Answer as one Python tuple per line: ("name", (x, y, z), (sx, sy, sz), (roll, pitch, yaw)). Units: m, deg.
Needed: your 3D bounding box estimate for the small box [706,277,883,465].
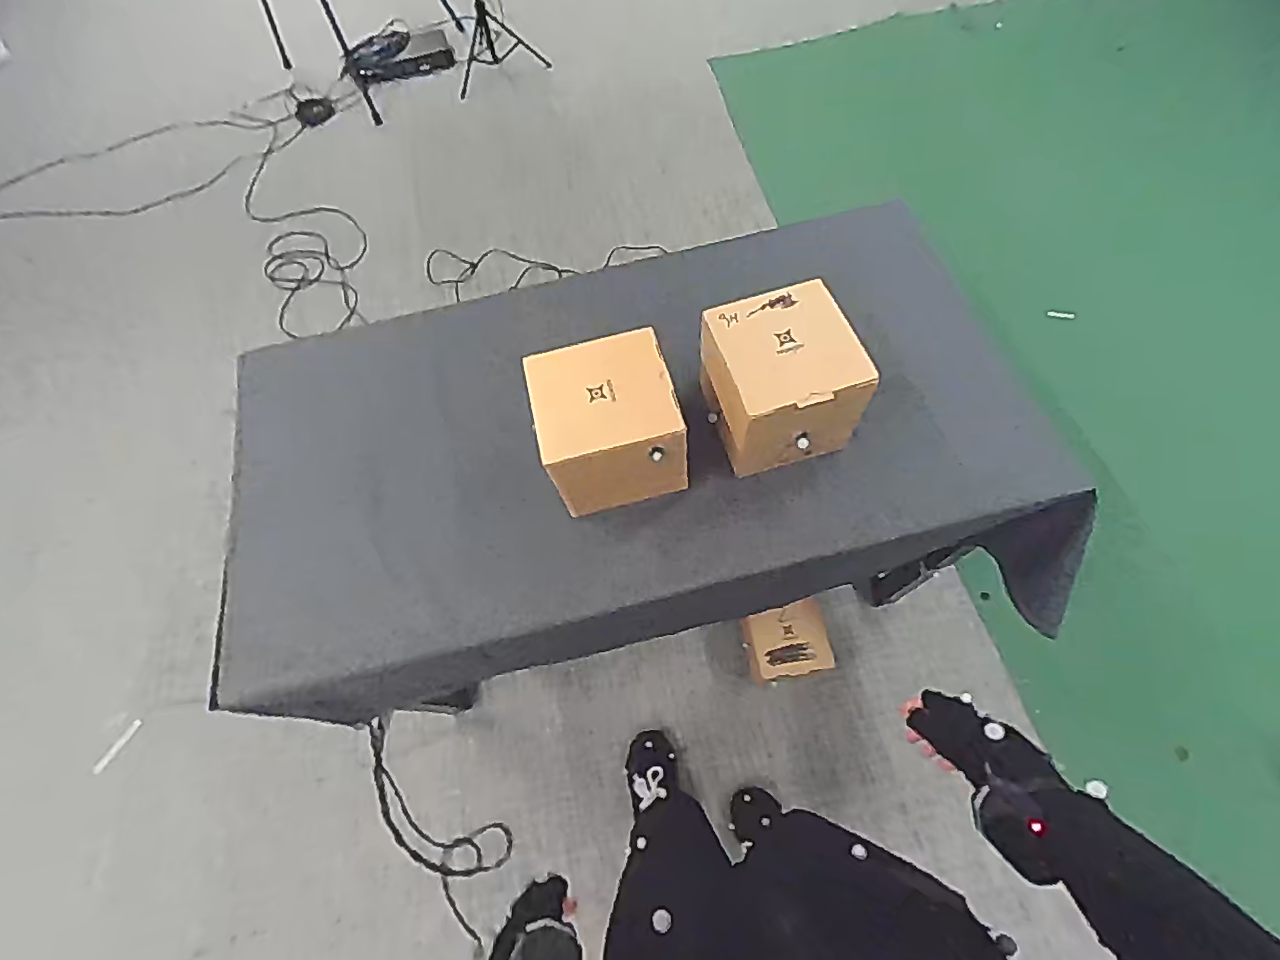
("small box", (0.195, -0.136, 0.739), (0.168, 0.176, 0.179), (-15, 65, -3))
